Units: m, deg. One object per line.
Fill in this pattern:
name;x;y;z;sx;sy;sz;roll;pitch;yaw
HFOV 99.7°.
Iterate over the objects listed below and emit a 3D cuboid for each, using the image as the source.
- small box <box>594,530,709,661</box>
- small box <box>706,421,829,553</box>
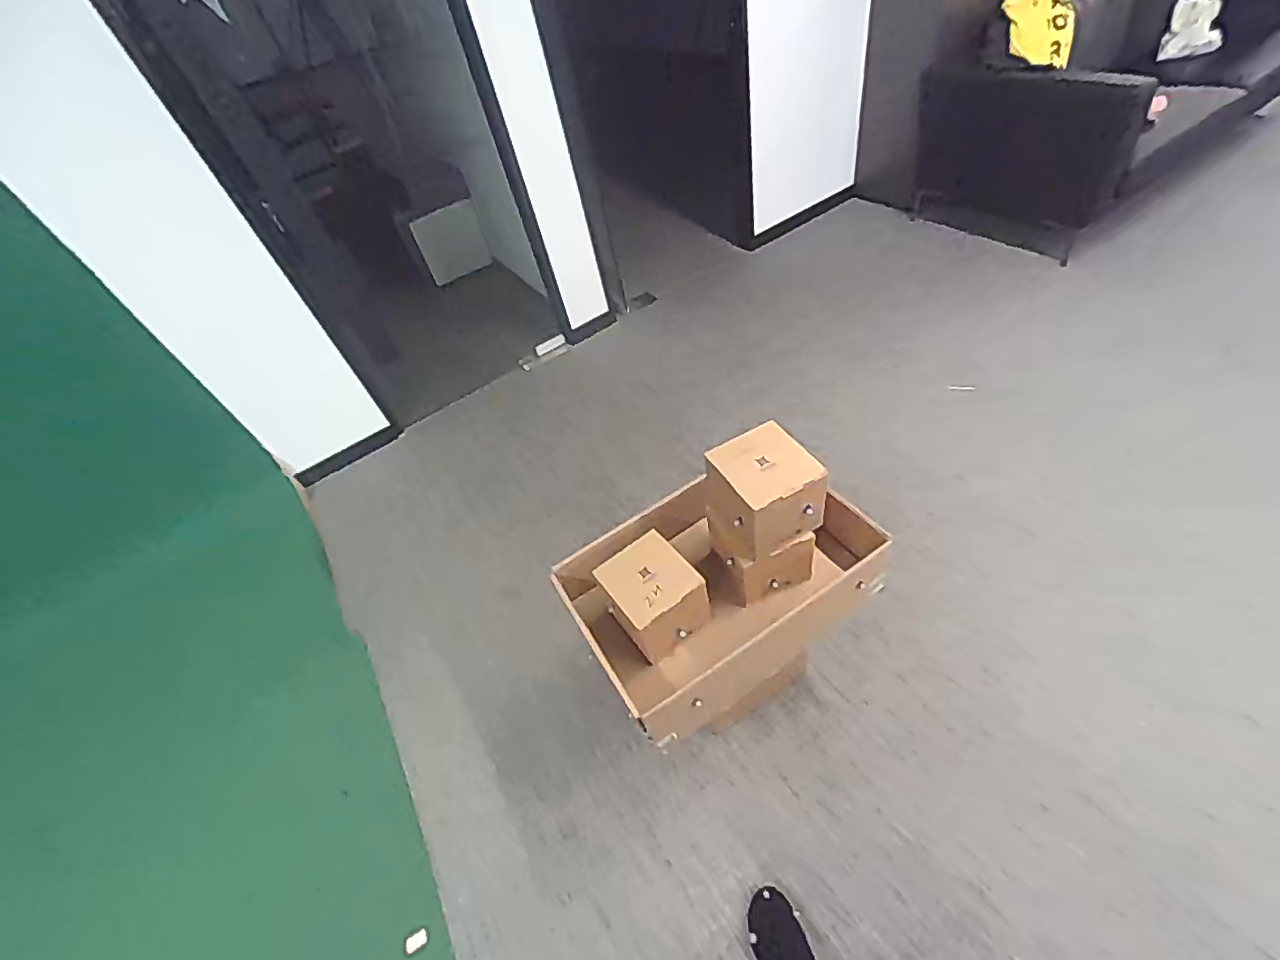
small box;0.028;0.246;1.142;0.168;0.176;0.179;-33;50;-16
small box;0.249;0.022;1.072;0.168;0.176;0.179;-25;48;-11
